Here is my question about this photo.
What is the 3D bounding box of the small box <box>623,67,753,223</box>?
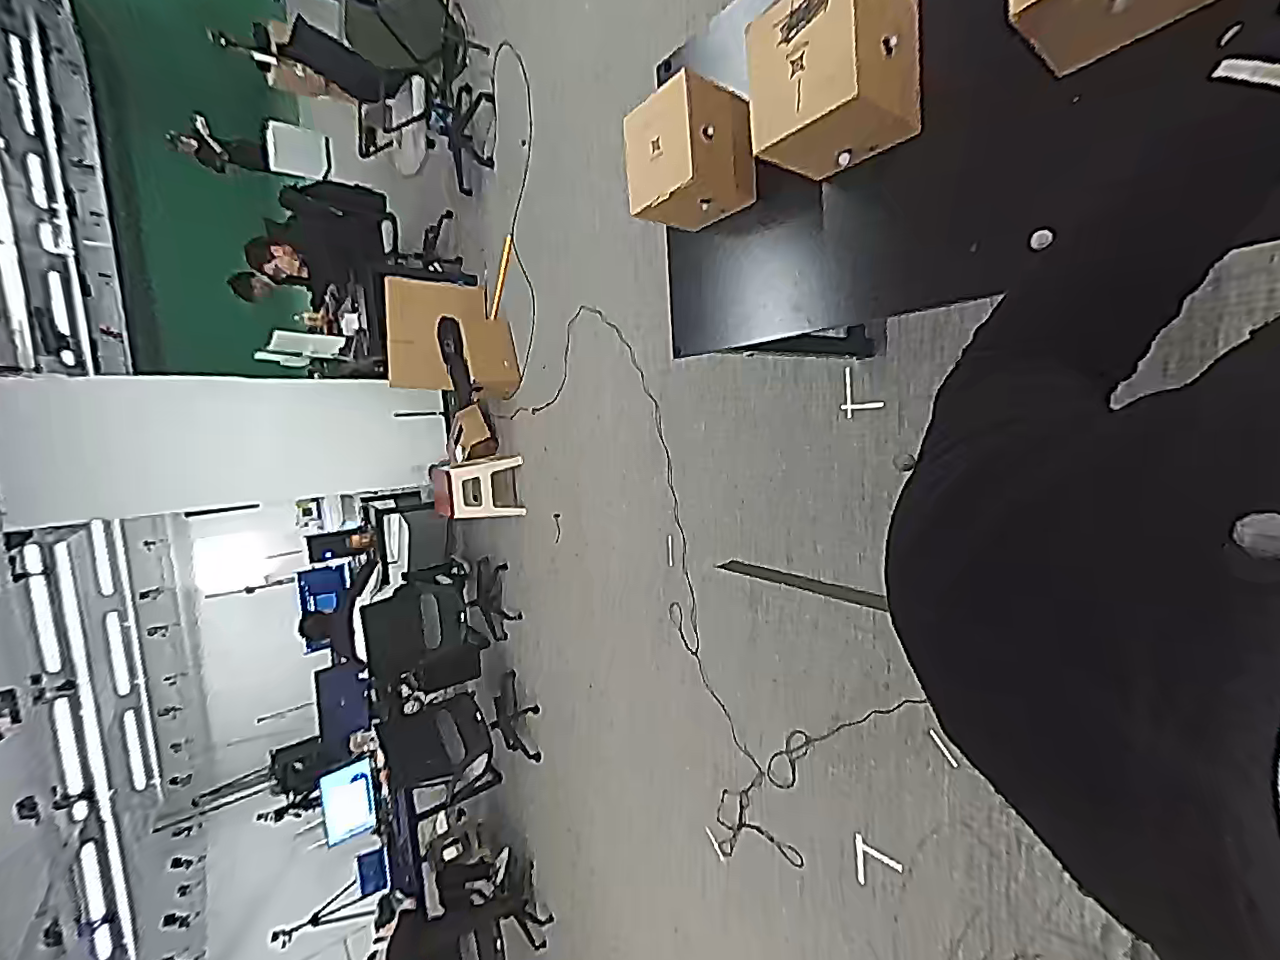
[{"bbox_3d":[0.090,-0.585,0.979,0.168,0.176,0.179,1,96,51],"label":"small box"}]

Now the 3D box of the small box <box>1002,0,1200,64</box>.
[{"bbox_3d":[0.466,-0.545,0.506,0.179,0.176,0.168,-3,95,53],"label":"small box"}]

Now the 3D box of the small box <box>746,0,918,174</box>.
[{"bbox_3d":[0.268,-0.564,0.755,0.168,0.176,0.179,3,99,52],"label":"small box"}]
